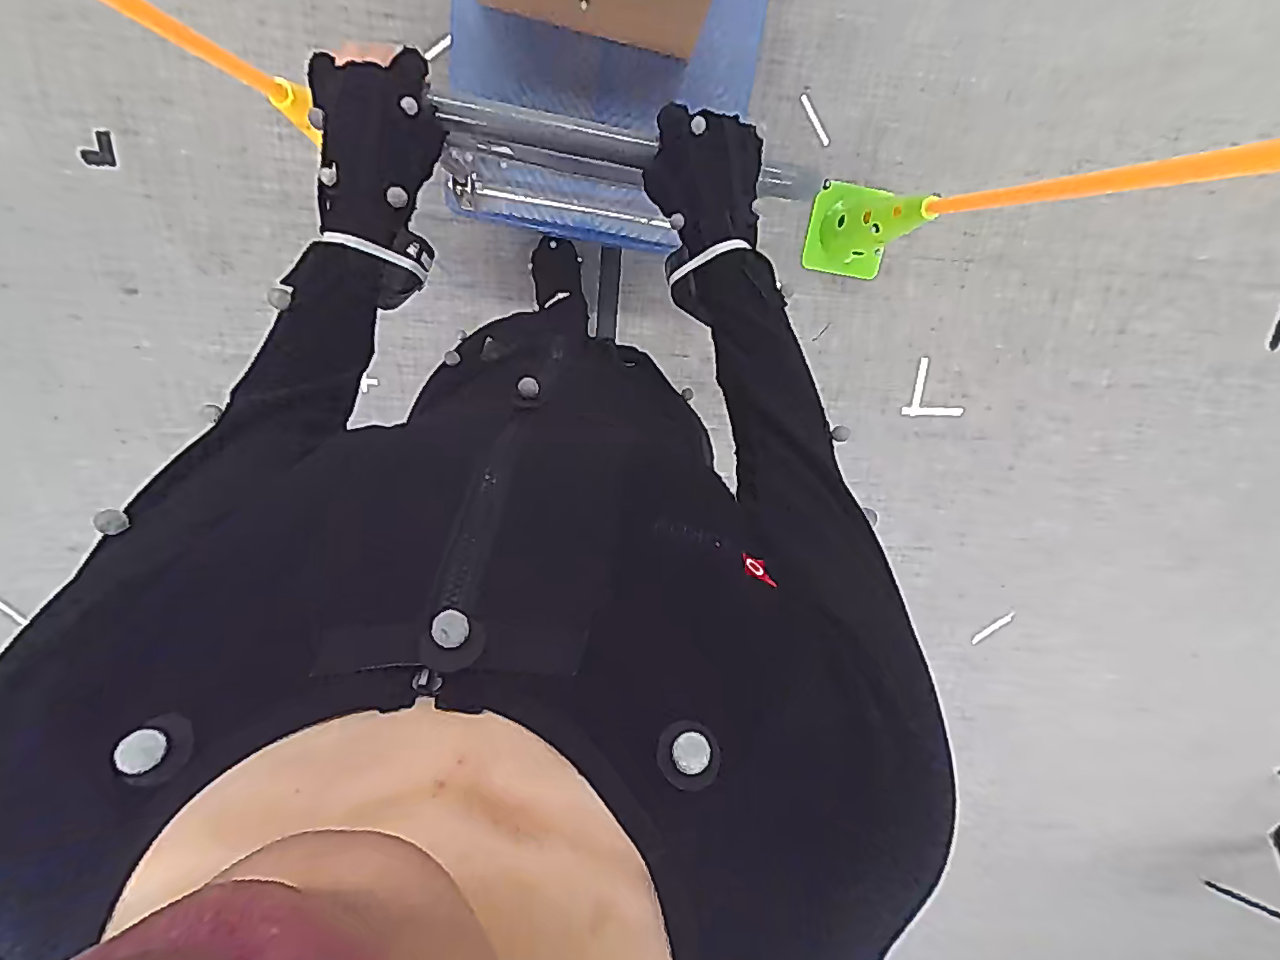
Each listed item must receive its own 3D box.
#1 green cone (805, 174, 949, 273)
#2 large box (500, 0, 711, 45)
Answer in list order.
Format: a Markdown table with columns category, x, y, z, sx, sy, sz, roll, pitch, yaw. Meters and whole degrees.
| category | x | y | z | sx | sy | sz | roll | pitch | yaw |
| --- | --- | --- | --- | --- | --- | --- | --- | --- | --- |
| green cone | 0.527 | -0.564 | 1.156 | 0.202 | 0.368 | 0.200 | 6 | 109 | -8 |
| large box | -0.059 | -0.944 | 0.827 | 0.408 | 0.320 | 0.320 | 9 | 109 | -7 |
